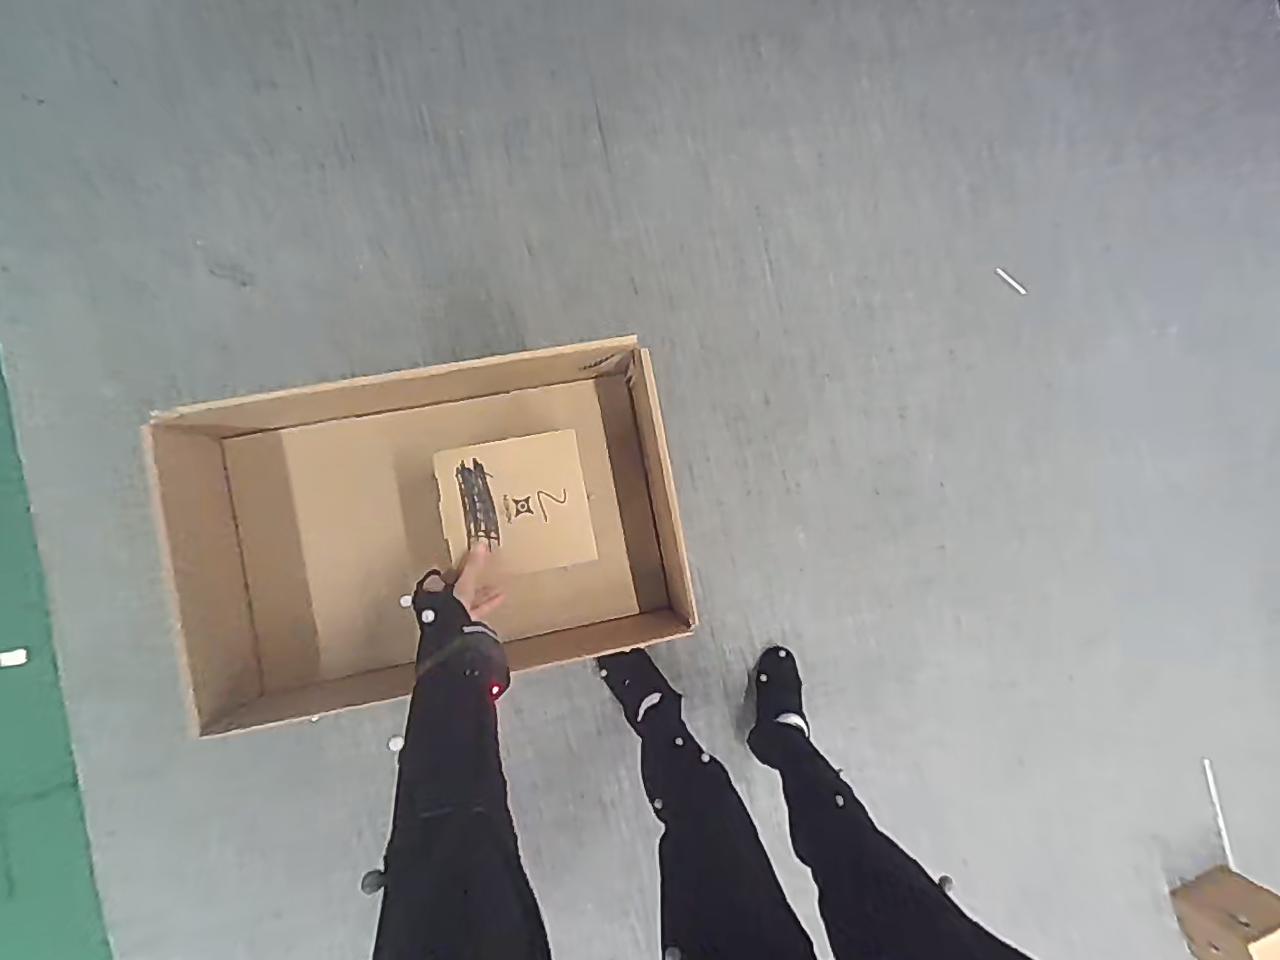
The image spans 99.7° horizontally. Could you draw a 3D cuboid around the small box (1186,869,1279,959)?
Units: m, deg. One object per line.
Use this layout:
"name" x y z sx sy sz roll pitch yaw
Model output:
"small box" 1.448 1.071 1.268 0.179 0.176 0.168 -19 89 -7
